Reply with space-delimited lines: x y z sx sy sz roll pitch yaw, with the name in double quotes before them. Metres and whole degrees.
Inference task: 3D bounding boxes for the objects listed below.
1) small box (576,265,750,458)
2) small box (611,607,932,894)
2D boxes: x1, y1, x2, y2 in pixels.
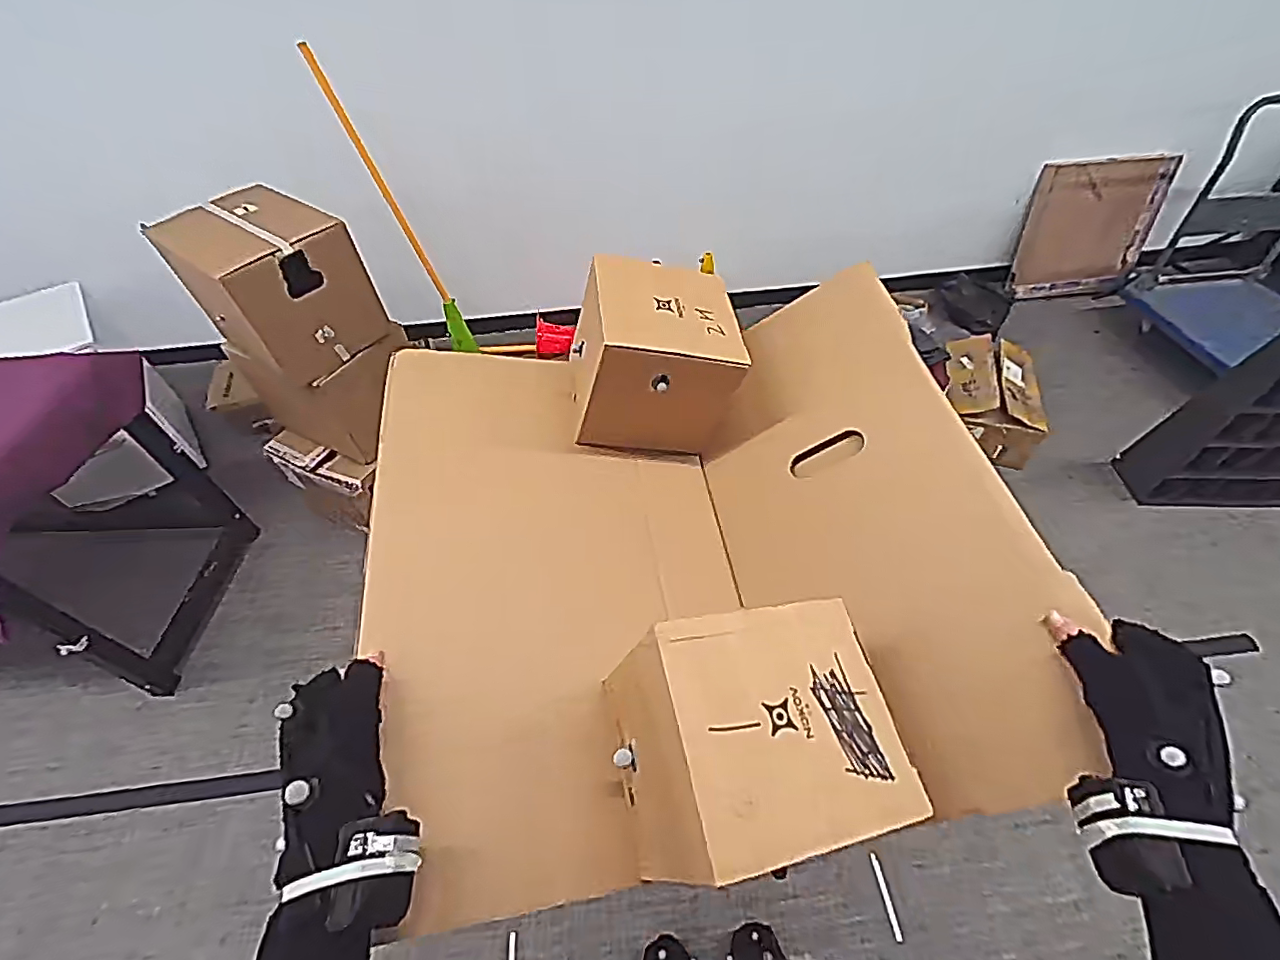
"small box" 0.015 -0.144 0.699 0.179 0.176 0.168 5 54 -17
"small box" 0.089 0.222 0.456 0.179 0.176 0.168 -3 57 -20
